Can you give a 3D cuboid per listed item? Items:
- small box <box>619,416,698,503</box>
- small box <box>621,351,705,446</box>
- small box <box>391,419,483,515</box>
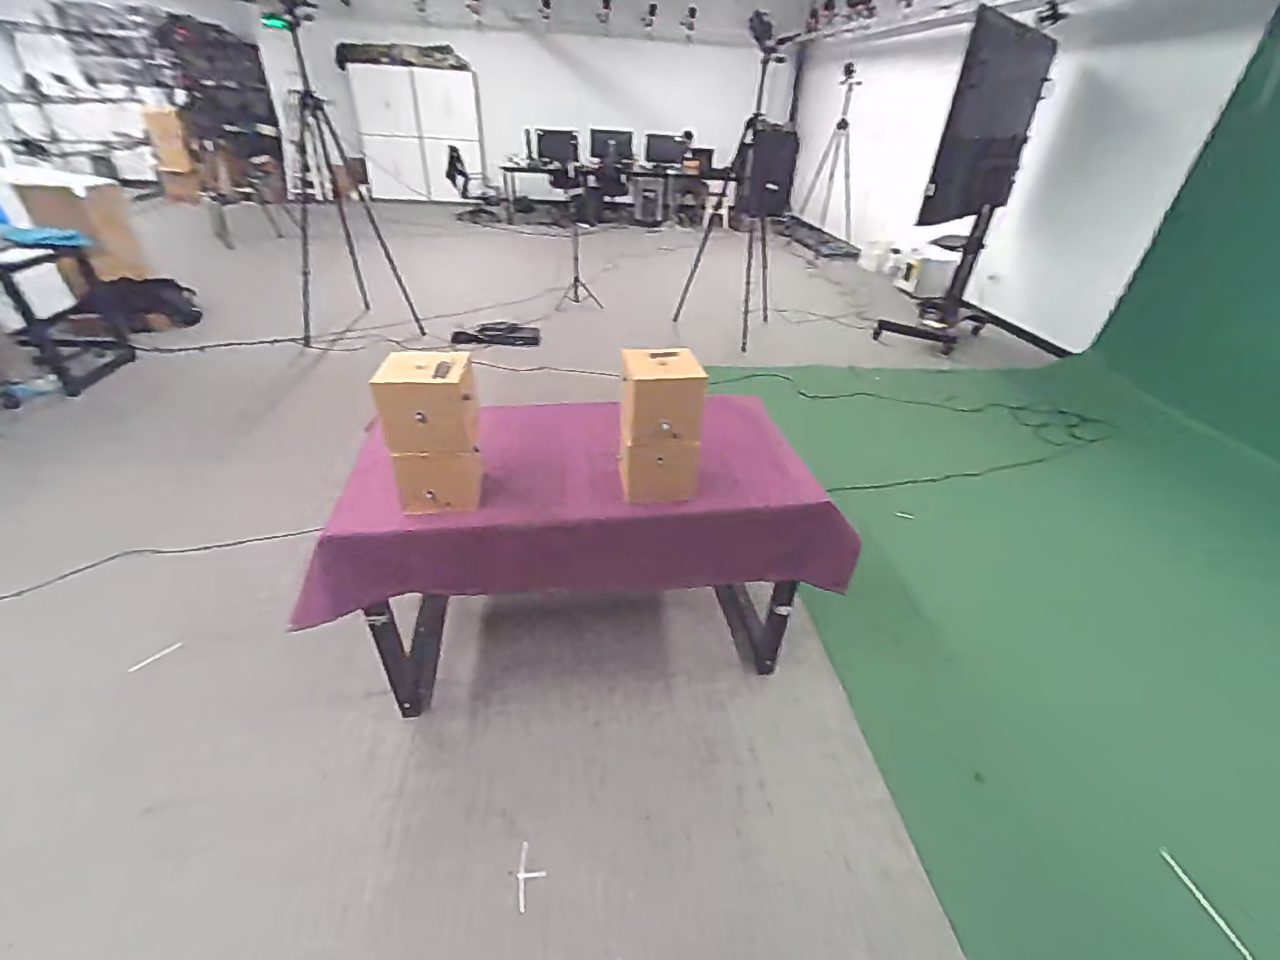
[{"bbox_3d":[0.041,-0.054,1.363,0.179,0.176,0.168,-2,35,-7],"label":"small box"},{"bbox_3d":[0.046,-0.195,1.277,0.168,0.176,0.179,-4,35,-9],"label":"small box"},{"bbox_3d":[-0.476,-0.033,1.297,0.168,0.176,0.179,-2,35,-8],"label":"small box"}]
